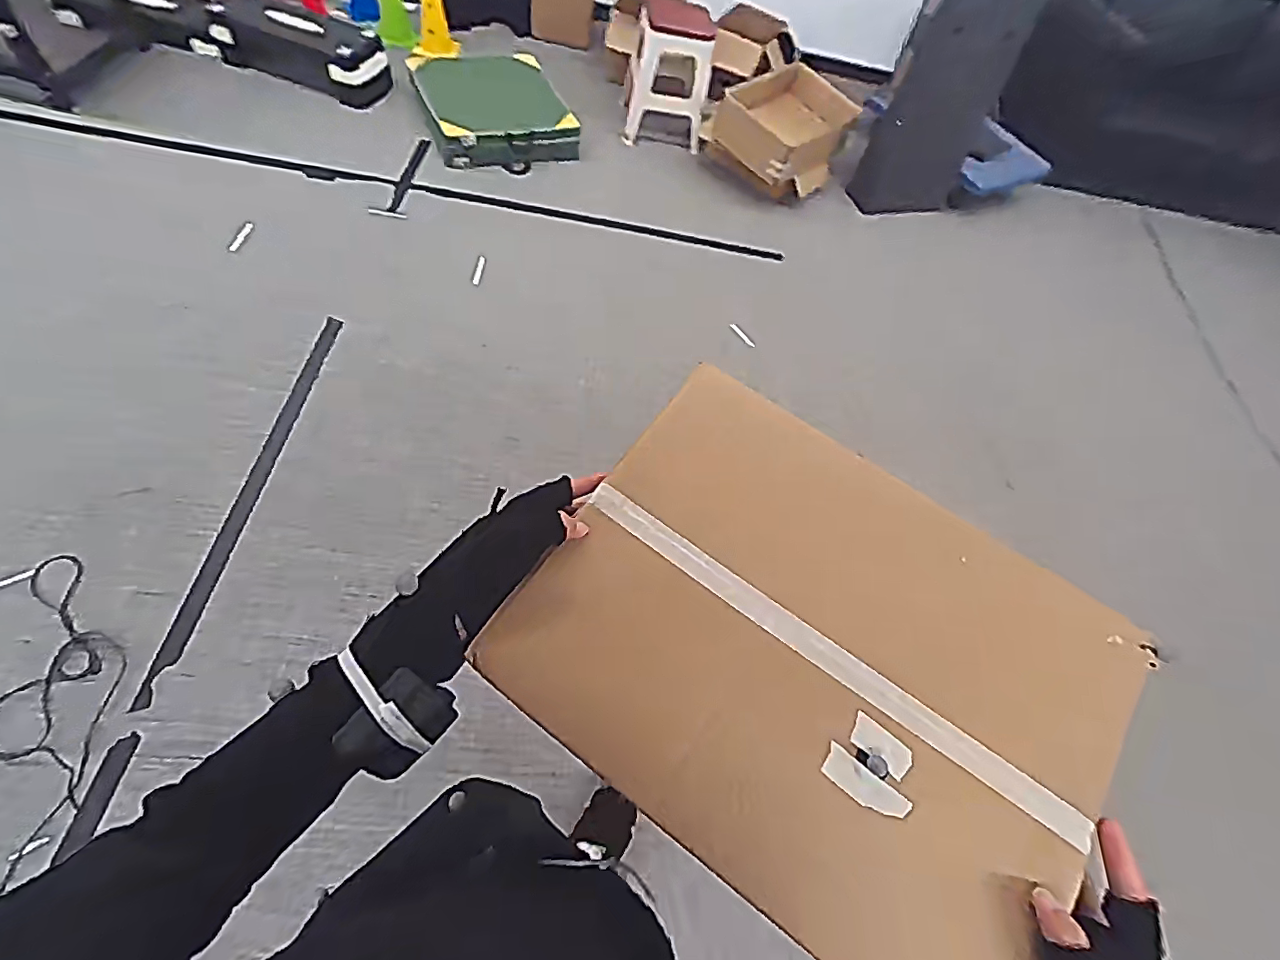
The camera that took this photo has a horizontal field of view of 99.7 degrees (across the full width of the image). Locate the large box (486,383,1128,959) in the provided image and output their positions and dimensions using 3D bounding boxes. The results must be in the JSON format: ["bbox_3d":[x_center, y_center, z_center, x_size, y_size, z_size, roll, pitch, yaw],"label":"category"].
[{"bbox_3d":[0.125,0.183,0.545,0.408,0.320,0.320,35,72,11],"label":"large box"}]
